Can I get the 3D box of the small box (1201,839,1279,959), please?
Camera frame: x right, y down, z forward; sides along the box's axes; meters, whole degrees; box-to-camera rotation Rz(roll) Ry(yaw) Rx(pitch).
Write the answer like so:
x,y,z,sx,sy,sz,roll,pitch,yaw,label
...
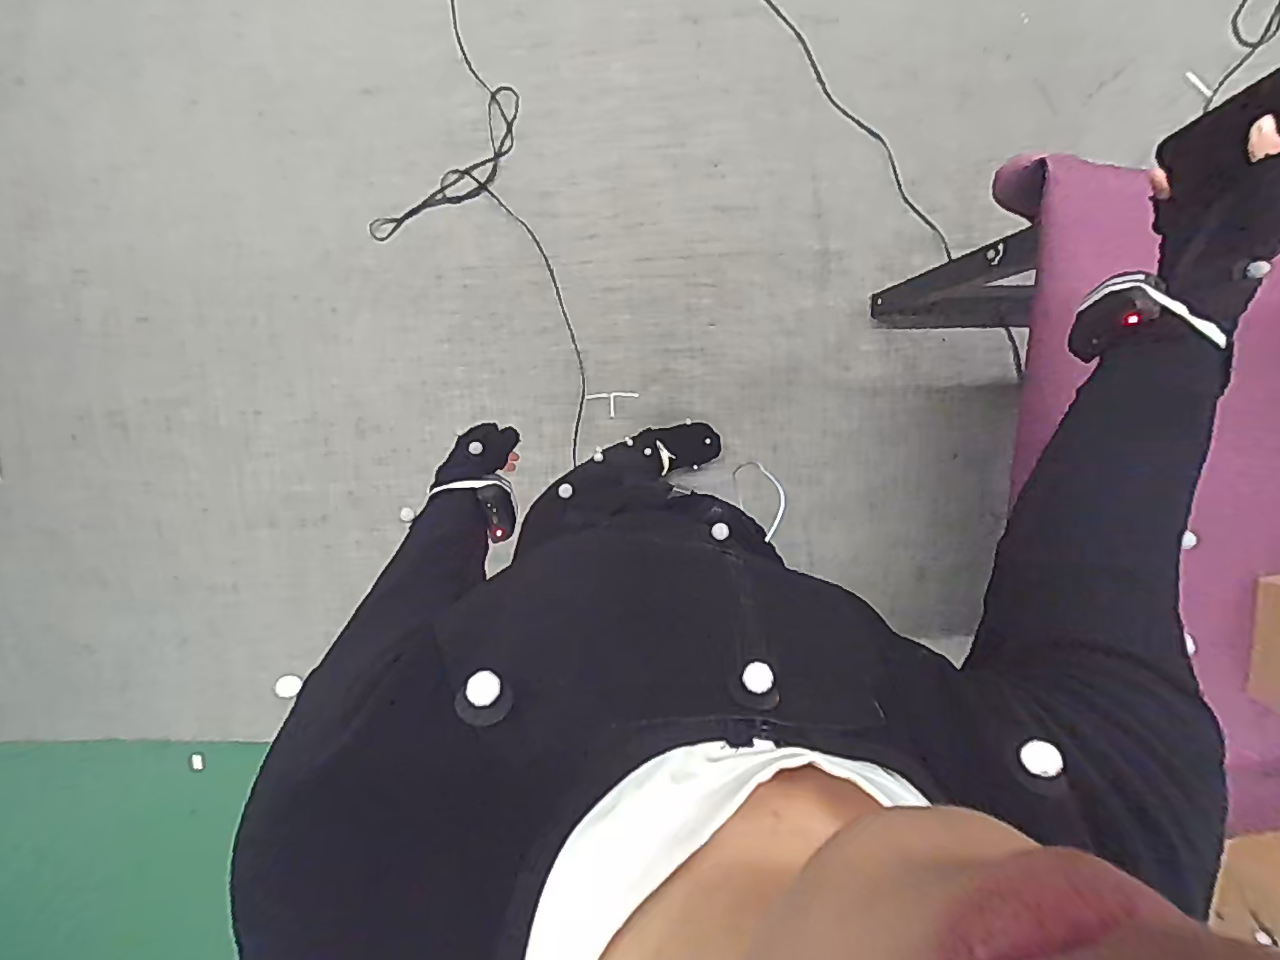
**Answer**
x,y,z,sx,sy,sz,roll,pitch,yaw,label
0.907,0.613,0.717,0.179,0.176,0.168,-10,98,2,small box
